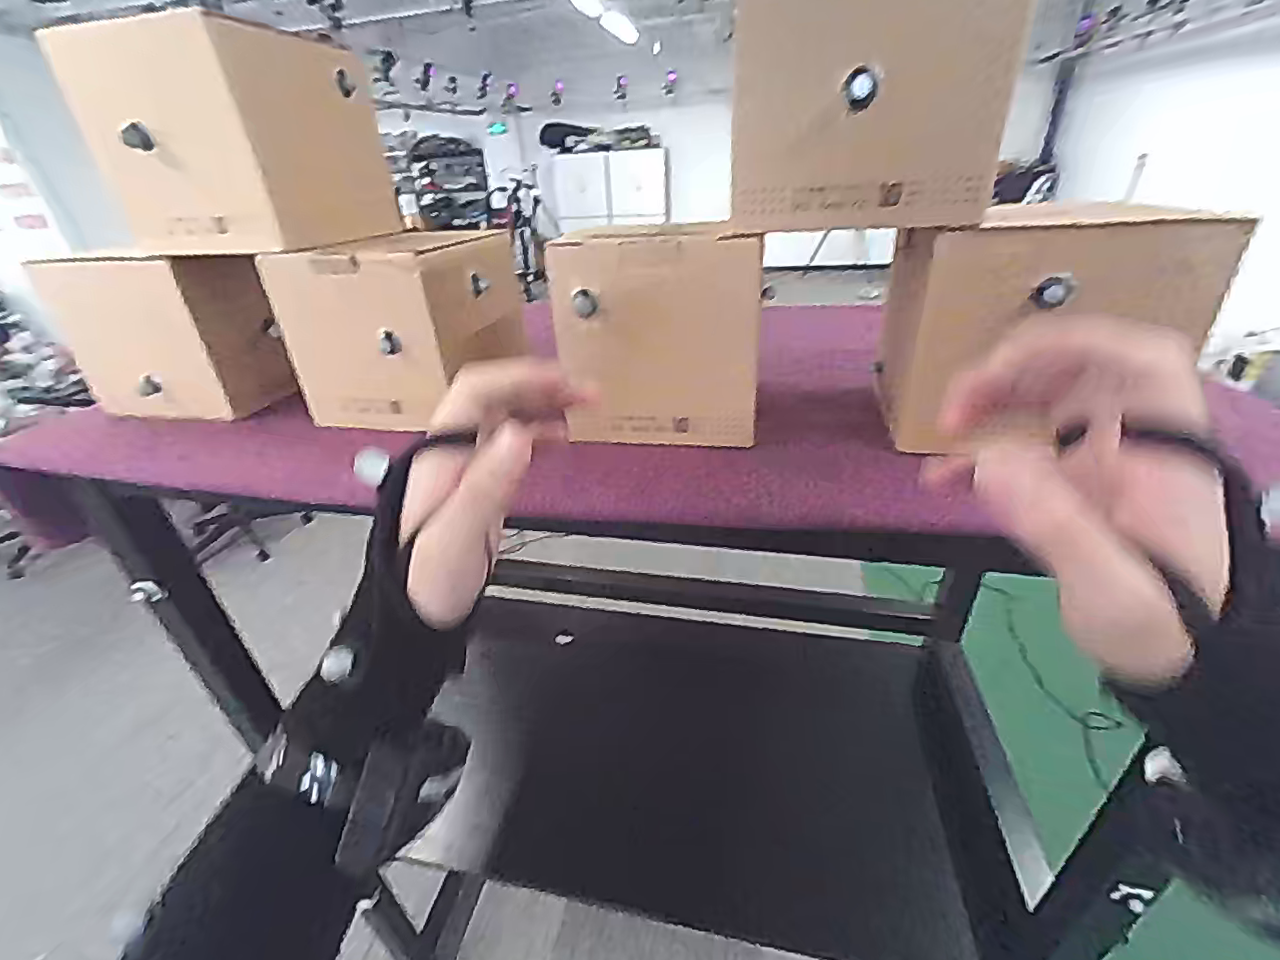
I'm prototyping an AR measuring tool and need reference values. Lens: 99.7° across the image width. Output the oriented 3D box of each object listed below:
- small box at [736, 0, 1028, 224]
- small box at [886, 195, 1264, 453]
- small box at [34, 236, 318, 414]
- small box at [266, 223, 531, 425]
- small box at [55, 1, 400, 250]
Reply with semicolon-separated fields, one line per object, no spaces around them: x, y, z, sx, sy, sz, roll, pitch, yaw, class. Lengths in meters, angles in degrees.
0.160;-0.286;0.398;0.168;0.176;0.179;4;29;12;small box
0.309;-0.131;0.441;0.179;0.176;0.168;4;30;14;small box
-0.495;-0.183;0.623;0.179;0.176;0.168;4;30;10;small box
-0.228;-0.166;0.566;0.168;0.176;0.179;5;30;14;small box
-0.363;-0.318;0.519;0.168;0.176;0.179;4;29;13;small box
